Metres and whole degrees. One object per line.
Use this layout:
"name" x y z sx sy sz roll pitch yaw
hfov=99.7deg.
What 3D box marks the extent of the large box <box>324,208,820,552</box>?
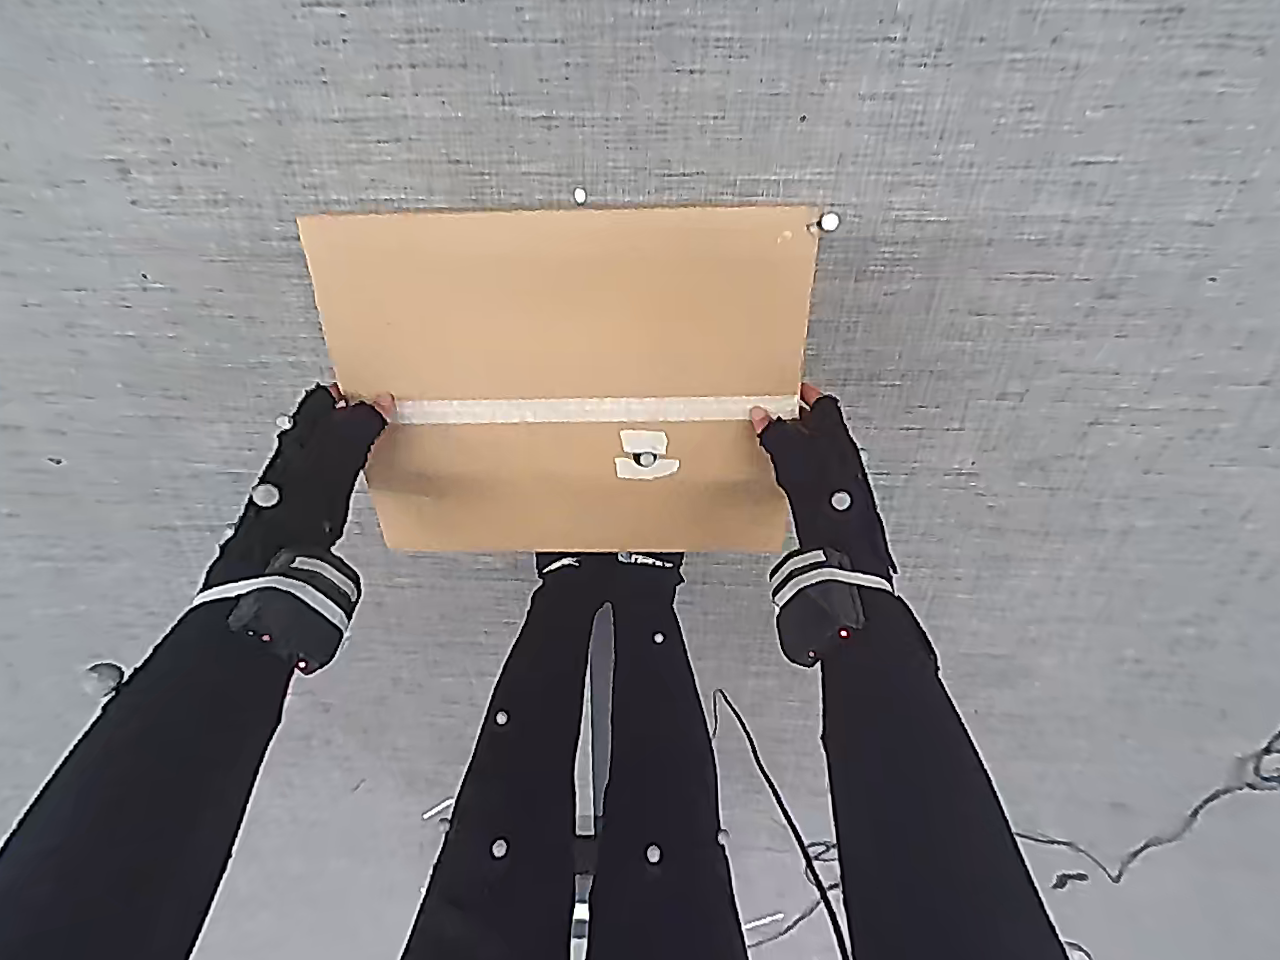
"large box" -0.051 -0.132 0.624 0.408 0.320 0.320 -1 118 2
